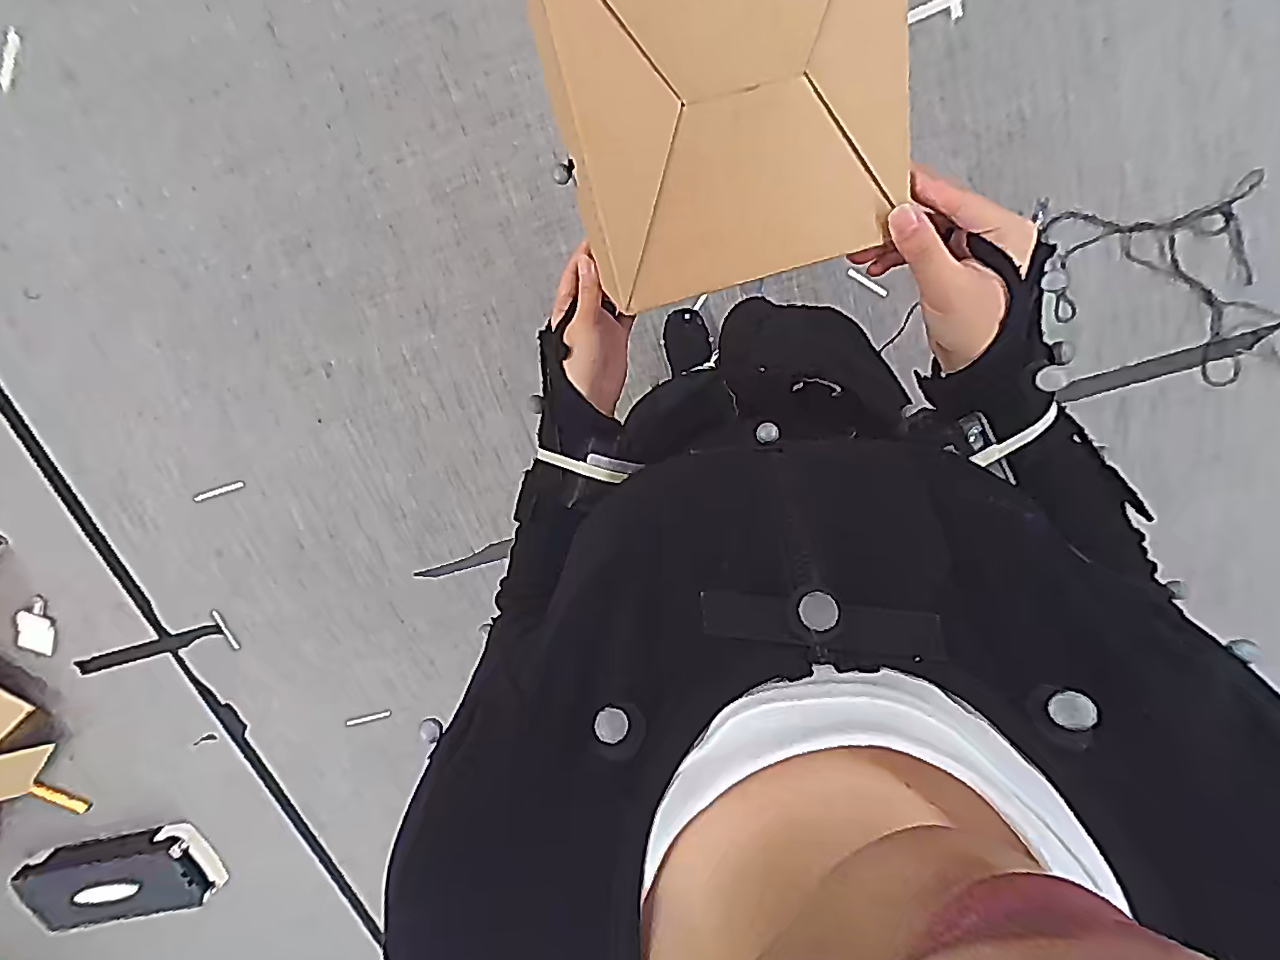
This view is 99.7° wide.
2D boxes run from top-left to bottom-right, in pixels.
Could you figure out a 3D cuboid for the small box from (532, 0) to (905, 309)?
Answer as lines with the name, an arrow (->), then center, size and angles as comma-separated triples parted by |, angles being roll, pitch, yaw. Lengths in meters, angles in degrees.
small box -> 0.040, -0.221, 0.332 | 0.168, 0.176, 0.179 | -16, 116, -2
